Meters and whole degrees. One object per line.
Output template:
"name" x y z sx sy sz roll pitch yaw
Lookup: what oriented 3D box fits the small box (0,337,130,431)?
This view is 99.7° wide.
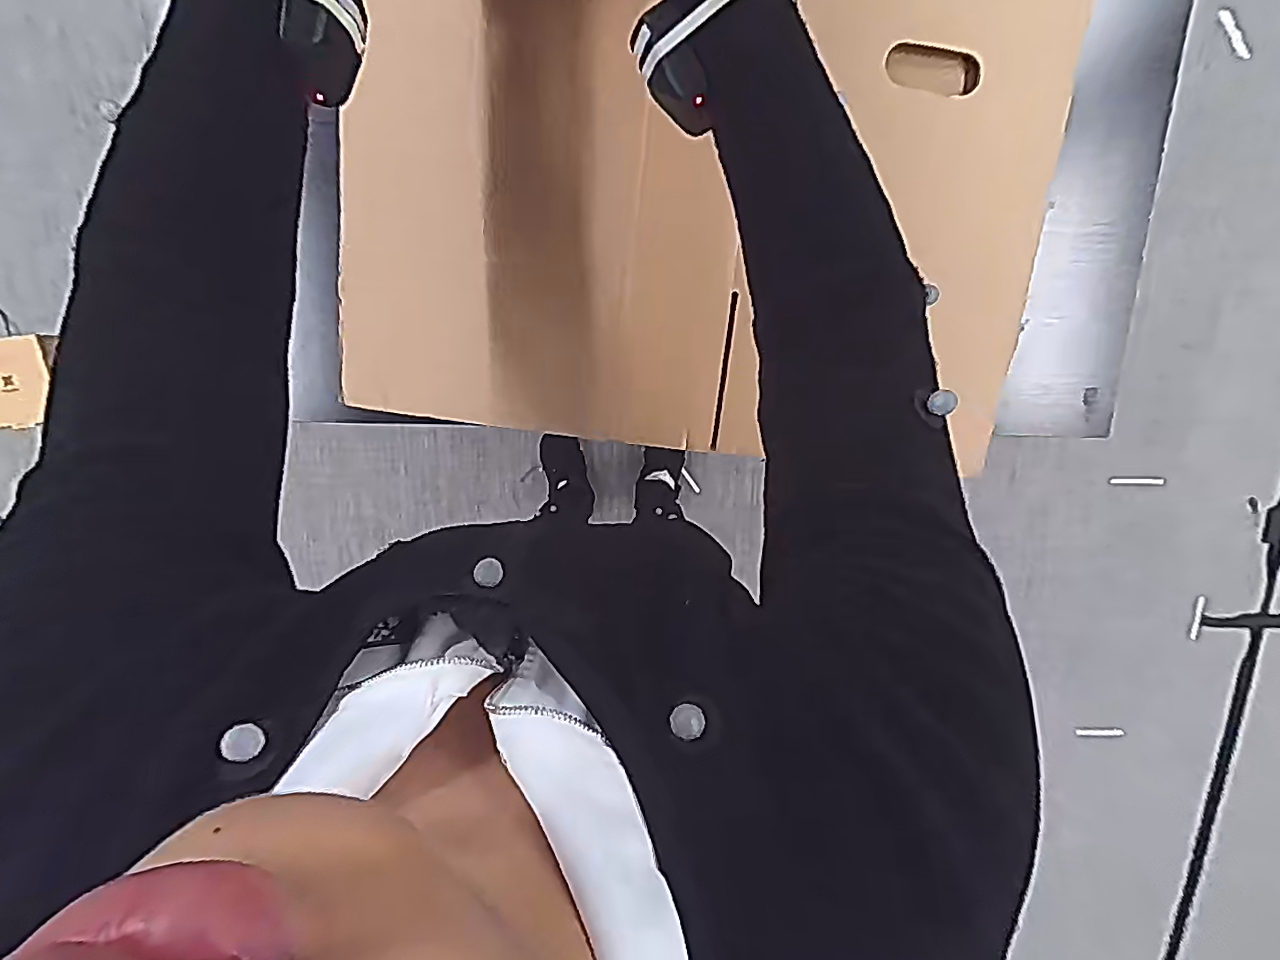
"small box" -1.253 -0.206 1.152 0.168 0.176 0.179 -6 101 -1
